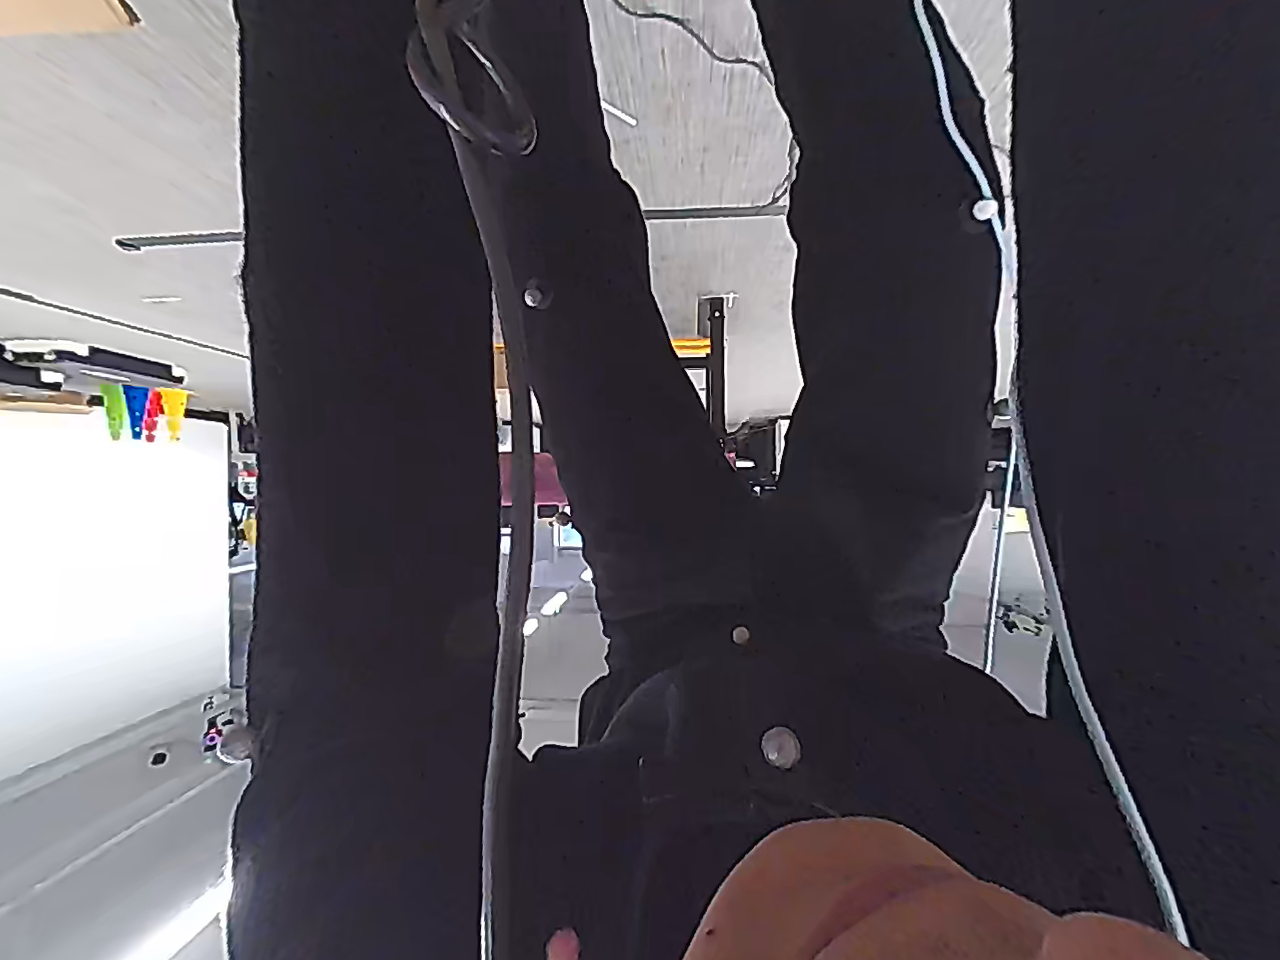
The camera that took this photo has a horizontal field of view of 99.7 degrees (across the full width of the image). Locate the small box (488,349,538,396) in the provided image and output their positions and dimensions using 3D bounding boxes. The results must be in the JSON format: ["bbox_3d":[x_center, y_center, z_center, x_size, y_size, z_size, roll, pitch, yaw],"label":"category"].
[{"bbox_3d":[-0.529,-0.449,2.256,0.168,0.176,0.179,-1,-179,4],"label":"small box"}]
